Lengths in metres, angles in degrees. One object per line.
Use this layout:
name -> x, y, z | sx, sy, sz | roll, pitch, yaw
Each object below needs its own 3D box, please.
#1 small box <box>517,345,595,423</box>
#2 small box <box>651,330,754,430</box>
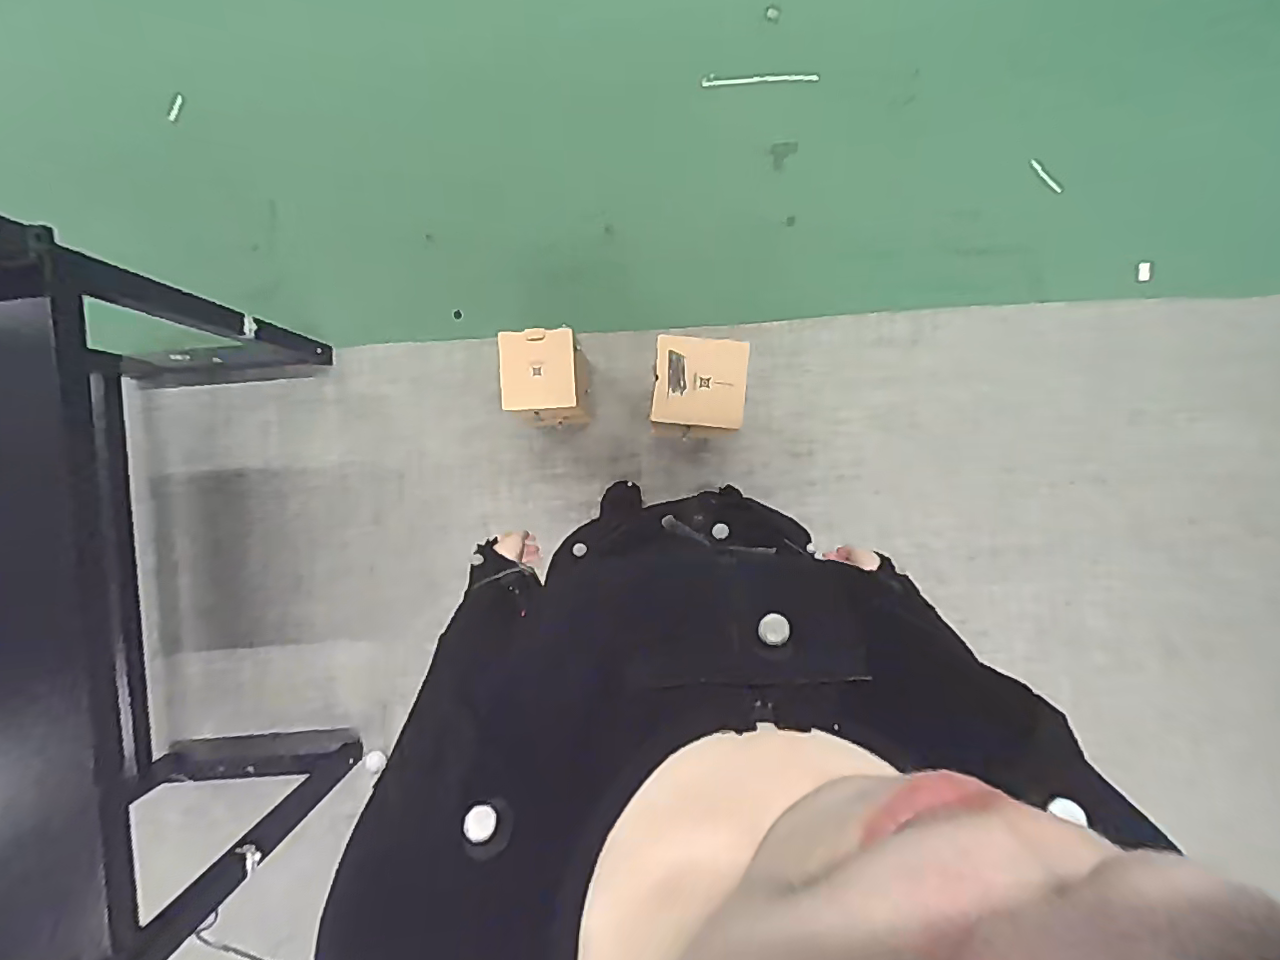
small box -> -0.213, -0.243, 1.407 | 0.168, 0.176, 0.179 | -5, 93, 1
small box -> 0.117, -0.190, 1.073 | 0.179, 0.176, 0.168 | 5, 92, 1
